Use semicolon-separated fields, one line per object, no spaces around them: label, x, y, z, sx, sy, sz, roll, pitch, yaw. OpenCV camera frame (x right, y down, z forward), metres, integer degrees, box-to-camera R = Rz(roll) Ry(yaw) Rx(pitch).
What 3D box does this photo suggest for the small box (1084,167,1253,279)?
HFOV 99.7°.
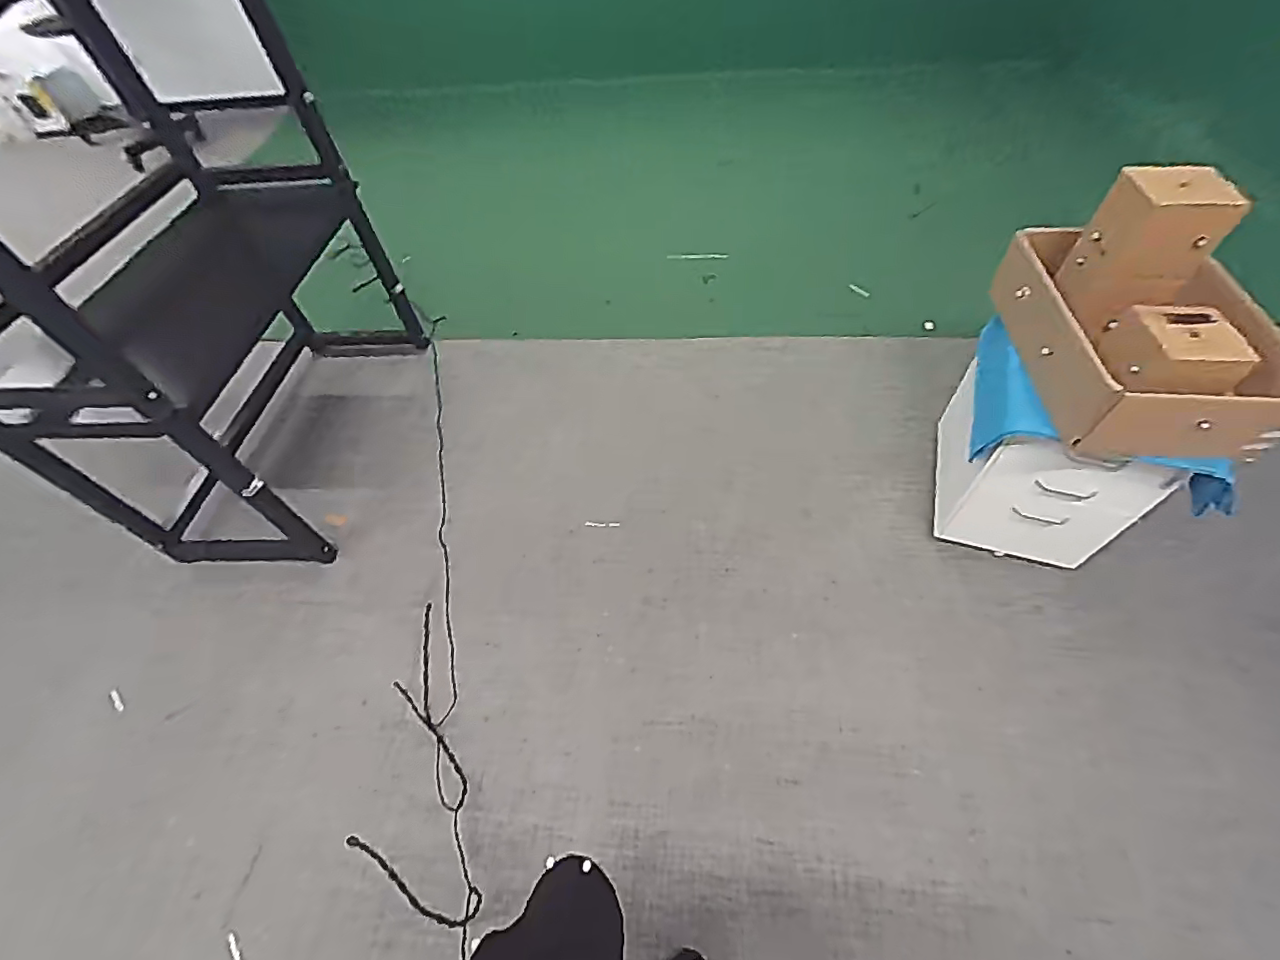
small box;1.144;-0.561;1.189;0.179;0.176;0.168;3;54;6
